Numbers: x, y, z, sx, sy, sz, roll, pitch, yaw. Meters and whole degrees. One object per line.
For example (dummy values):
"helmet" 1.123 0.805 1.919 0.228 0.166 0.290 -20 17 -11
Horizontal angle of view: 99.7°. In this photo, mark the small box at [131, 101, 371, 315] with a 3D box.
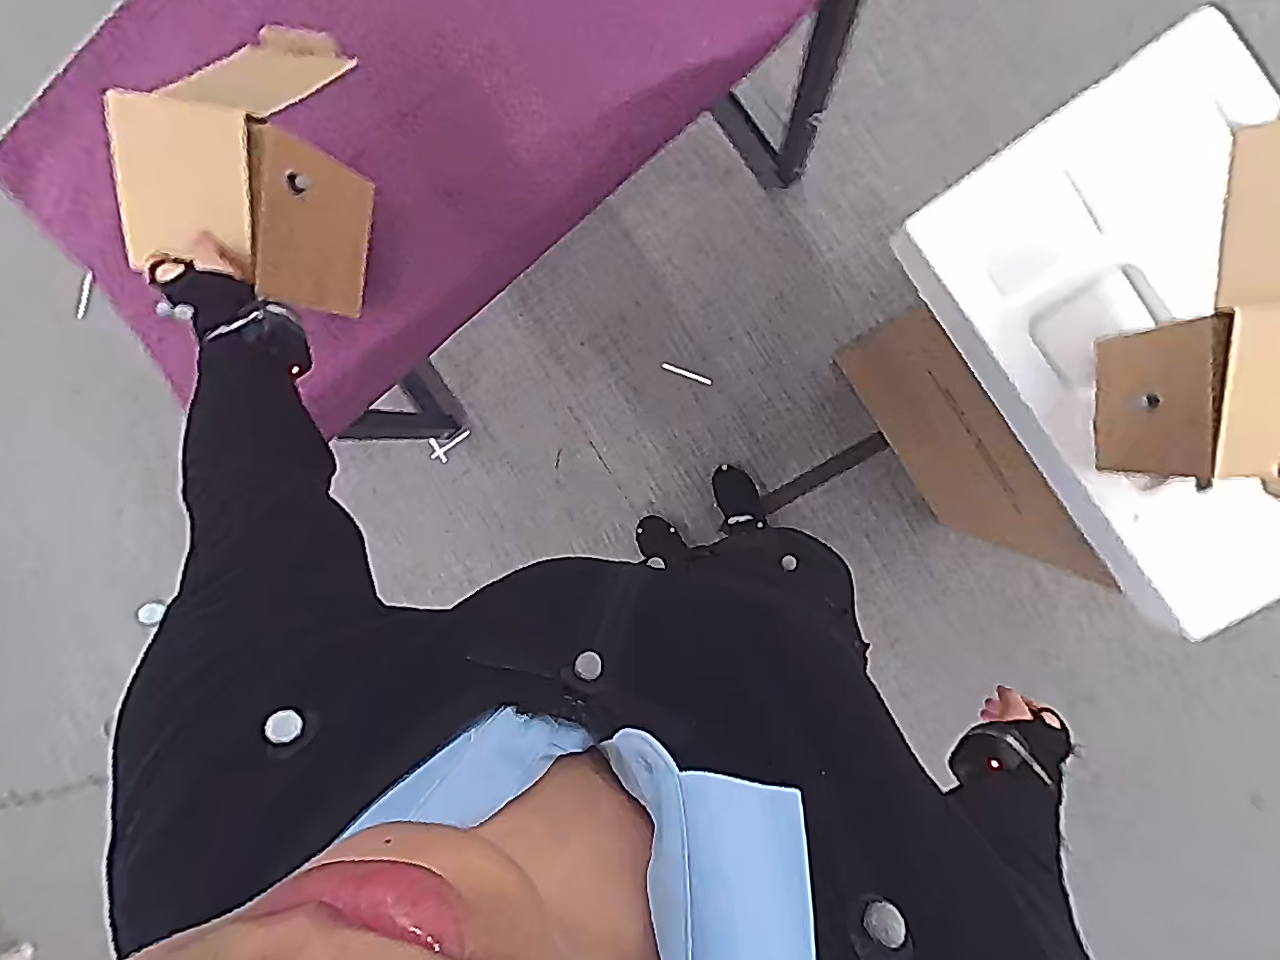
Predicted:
"small box" -0.461 -0.317 0.661 0.168 0.176 0.179 13 99 10
